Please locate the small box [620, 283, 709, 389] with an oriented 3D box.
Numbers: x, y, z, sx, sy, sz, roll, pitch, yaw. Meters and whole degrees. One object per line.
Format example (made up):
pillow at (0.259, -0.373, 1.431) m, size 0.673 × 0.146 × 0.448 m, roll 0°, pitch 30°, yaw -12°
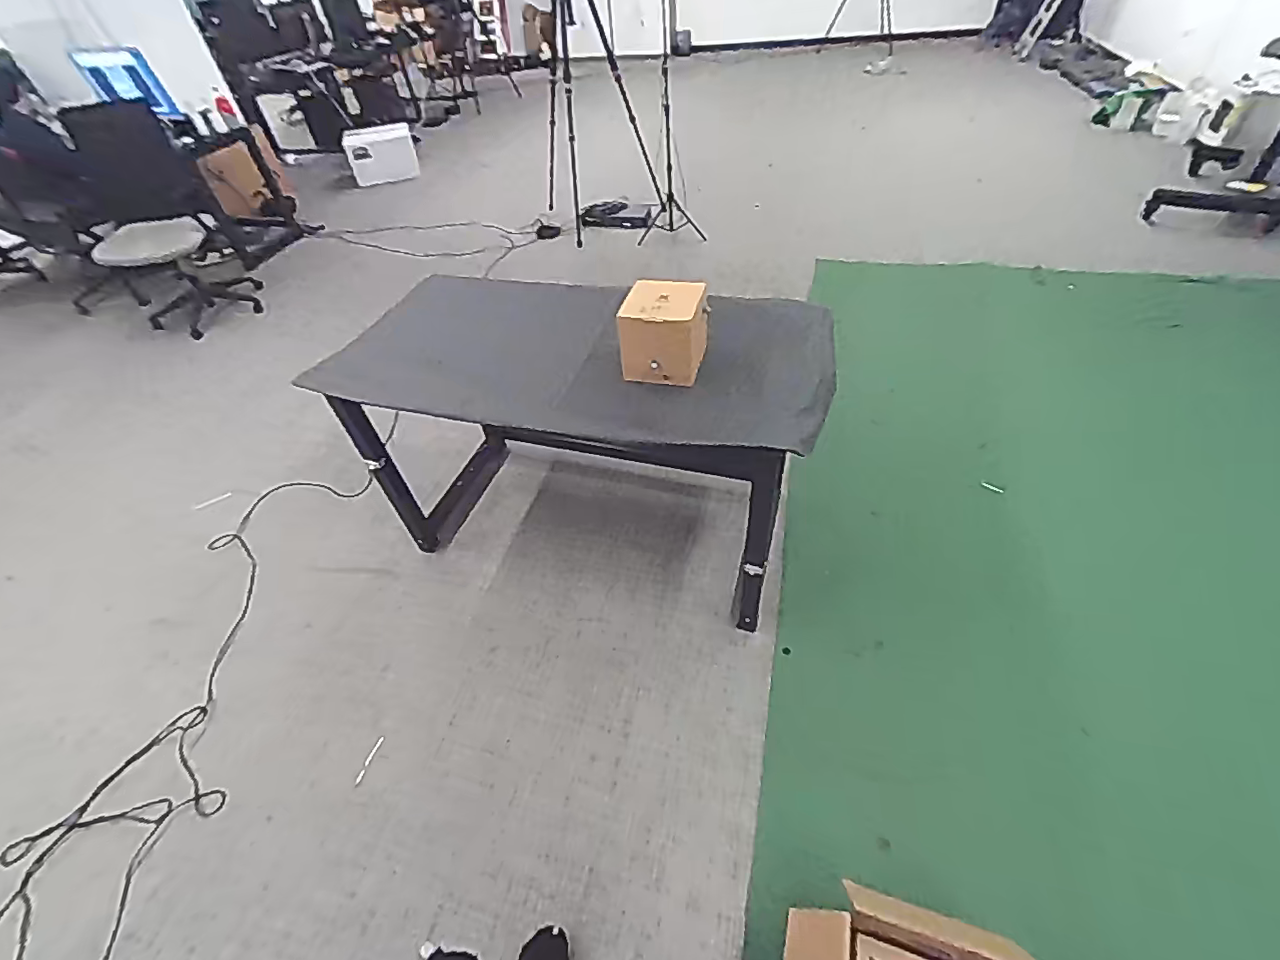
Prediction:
small box at (0.062, -0.336, 1.257) m, size 0.168 × 0.176 × 0.179 m, roll 8°, pitch 47°, yaw 15°
